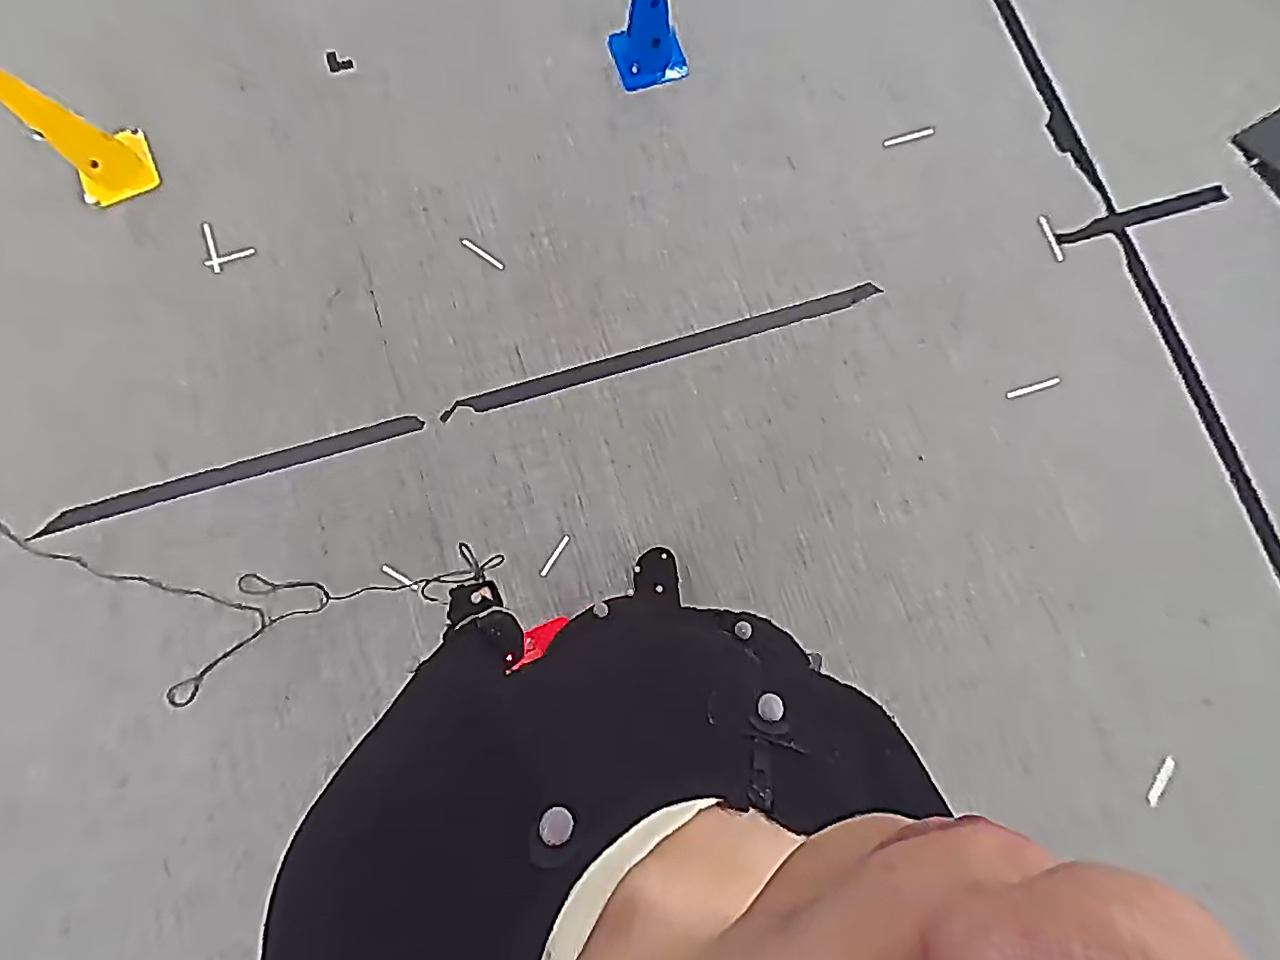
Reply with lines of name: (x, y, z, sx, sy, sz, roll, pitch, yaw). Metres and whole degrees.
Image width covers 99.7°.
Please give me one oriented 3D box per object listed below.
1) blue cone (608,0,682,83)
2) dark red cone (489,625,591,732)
blue cone: (0.016, -1.274, 1.412, 0.193, 0.380, 0.192, -16, 81, -3)
dark red cone: (-0.238, 0.445, 1.130, 0.202, 0.394, 0.201, -25, 81, -4)
